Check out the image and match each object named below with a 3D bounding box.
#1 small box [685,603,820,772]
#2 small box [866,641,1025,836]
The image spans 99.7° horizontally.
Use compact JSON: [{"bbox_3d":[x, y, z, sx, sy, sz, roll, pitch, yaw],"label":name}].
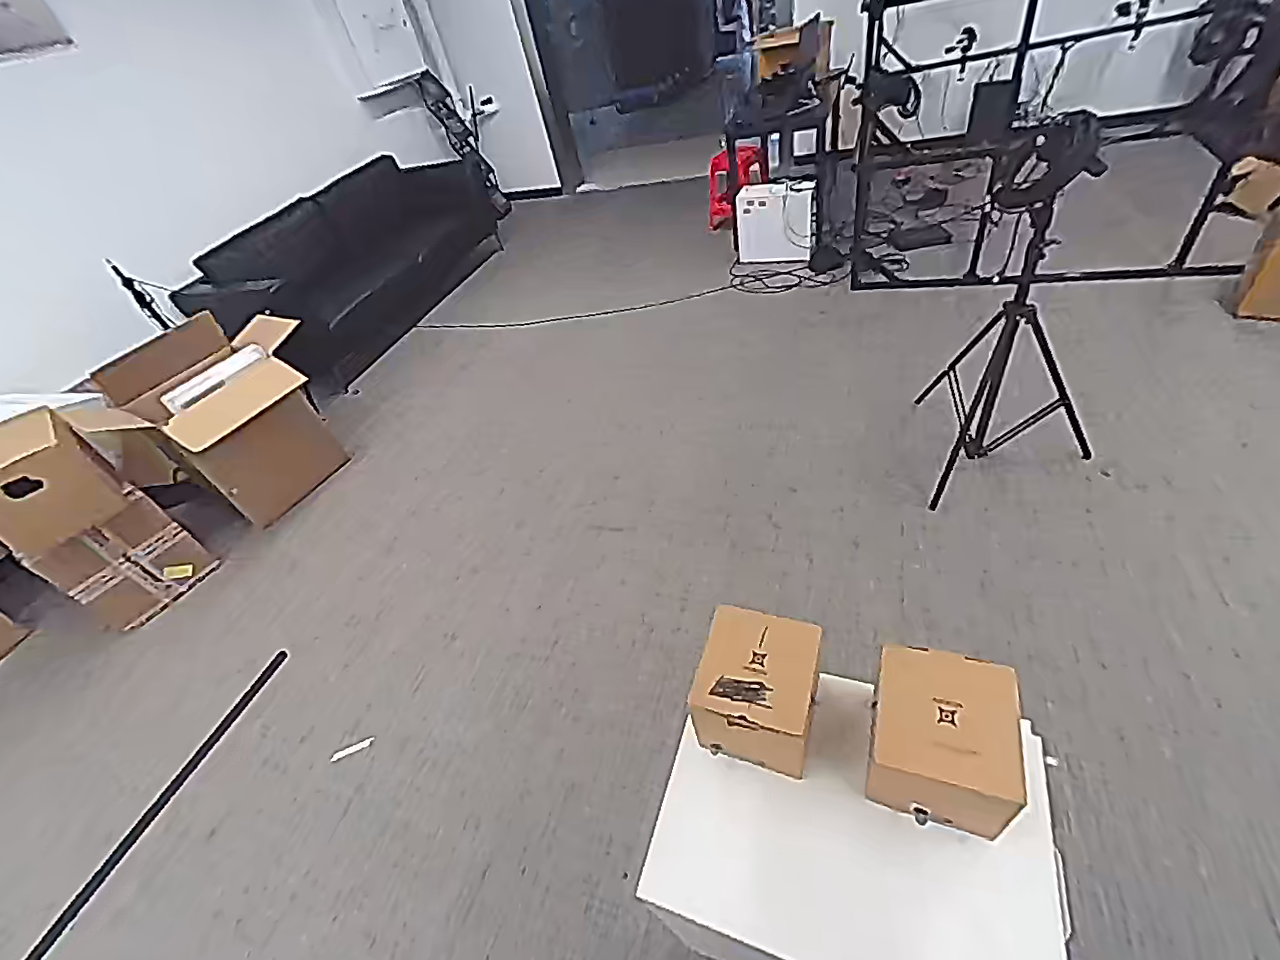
[{"bbox_3d":[0.185,0.327,0.853,0.168,0.176,0.179,8,47,23],"label":"small box"},{"bbox_3d":[0.414,0.359,0.757,0.168,0.176,0.179,6,48,23],"label":"small box"}]
